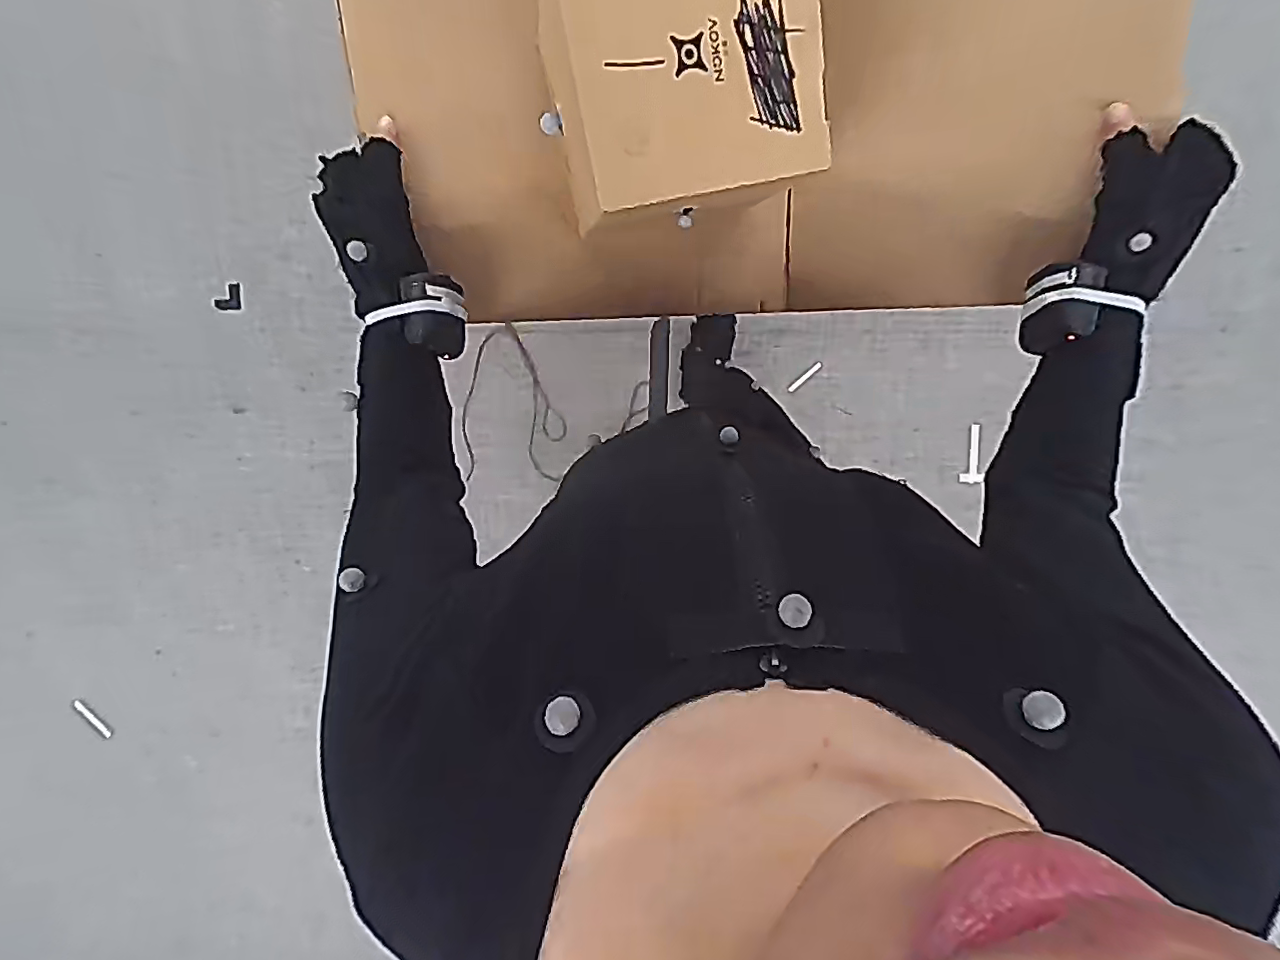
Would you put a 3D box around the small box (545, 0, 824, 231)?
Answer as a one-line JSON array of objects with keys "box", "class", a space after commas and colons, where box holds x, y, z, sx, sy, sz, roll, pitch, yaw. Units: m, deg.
[{"box": [0.026, -0.314, 0.443, 0.179, 0.176, 0.168, -14, 109, -6], "class": "small box"}]
